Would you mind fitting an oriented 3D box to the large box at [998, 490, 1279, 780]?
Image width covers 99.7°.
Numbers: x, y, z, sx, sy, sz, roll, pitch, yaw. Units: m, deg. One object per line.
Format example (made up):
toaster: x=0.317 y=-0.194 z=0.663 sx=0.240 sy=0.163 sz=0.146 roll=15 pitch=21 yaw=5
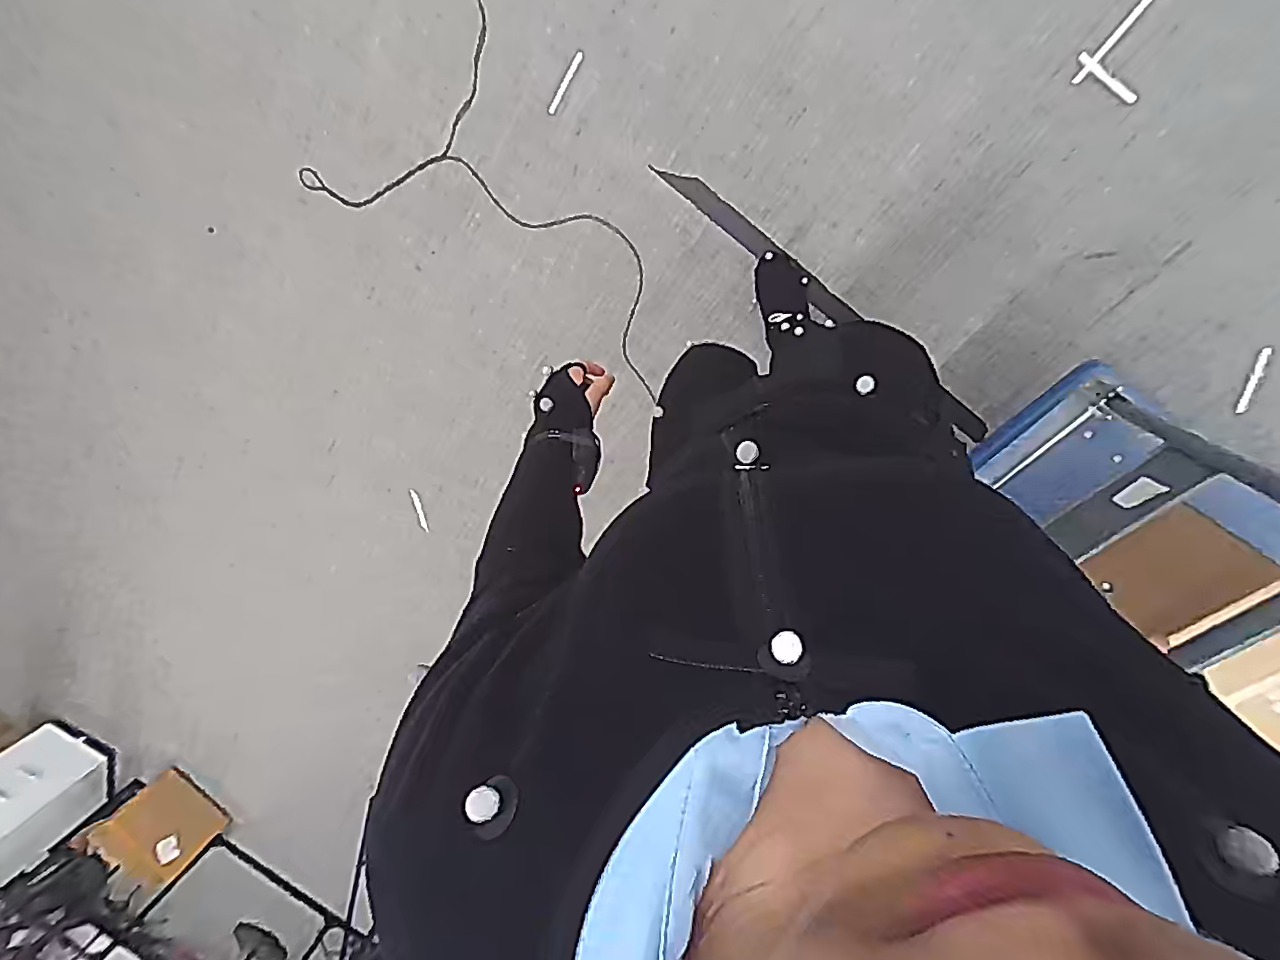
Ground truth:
large box: x=1.046 y=0.298 z=1.086 sx=0.320 sy=0.320 sz=0.408 roll=39 pitch=116 yaw=-3
